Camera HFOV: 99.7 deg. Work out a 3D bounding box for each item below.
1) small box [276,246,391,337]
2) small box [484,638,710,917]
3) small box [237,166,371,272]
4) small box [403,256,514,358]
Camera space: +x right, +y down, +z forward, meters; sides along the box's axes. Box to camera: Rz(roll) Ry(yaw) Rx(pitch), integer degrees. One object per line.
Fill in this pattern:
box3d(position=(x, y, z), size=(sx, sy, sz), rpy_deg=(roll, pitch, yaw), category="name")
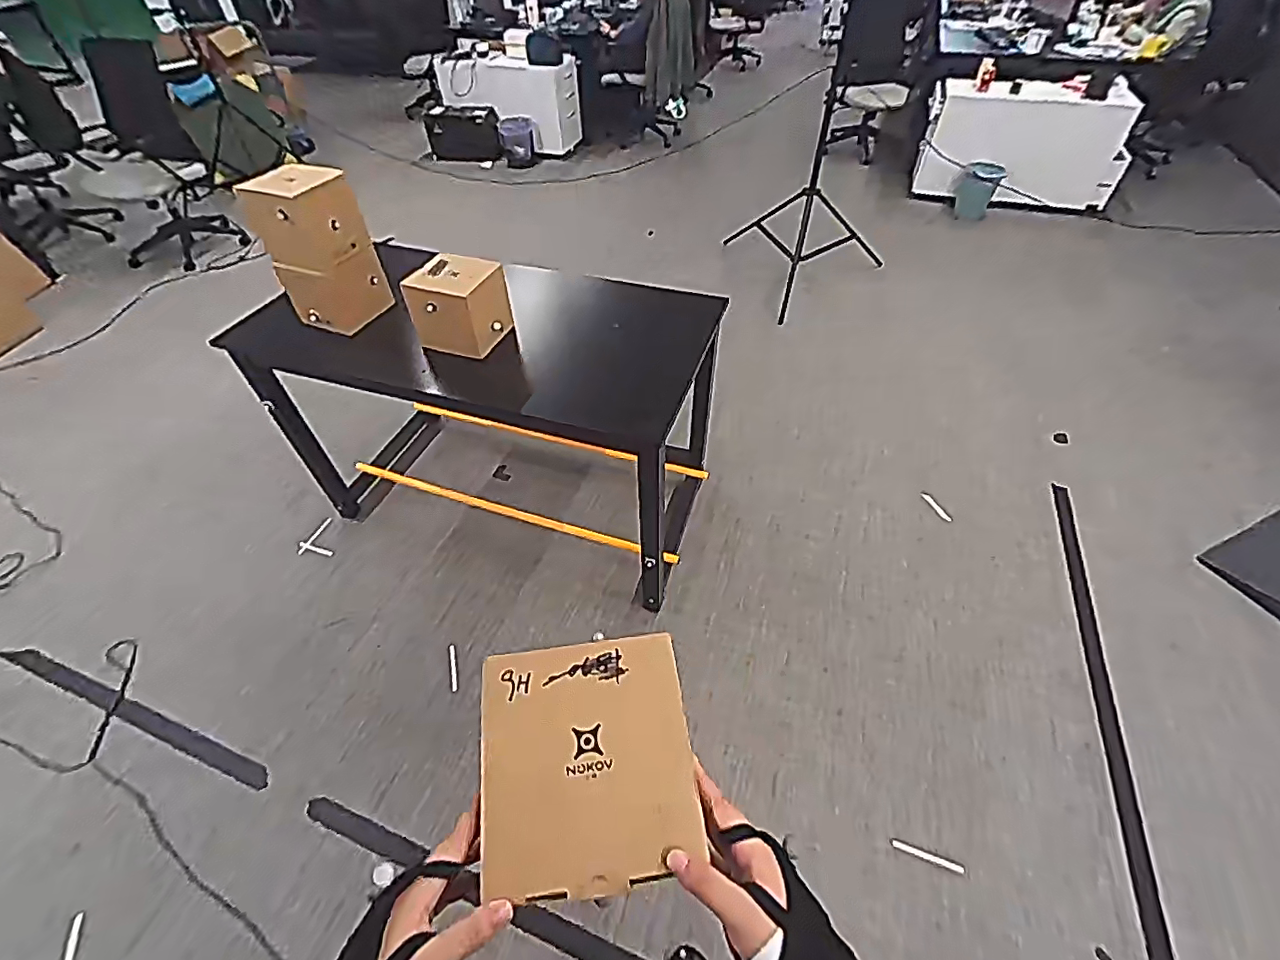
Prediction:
box3d(position=(-0.772, -0.495, 1.390), size=(0.168, 0.176, 0.179), rpy_deg=(16, 51, 16), category="small box")
box3d(position=(-0.041, 0.261, 0.492), size=(0.168, 0.176, 0.179), rpy_deg=(-7, 59, -6), category="small box")
box3d(position=(-0.777, -0.612, 1.273), size=(0.179, 0.176, 0.168), rpy_deg=(16, 49, 16), category="small box")
box3d(position=(-0.429, -0.416, 1.307), size=(0.179, 0.176, 0.168), rpy_deg=(15, 50, 13), category="small box")
